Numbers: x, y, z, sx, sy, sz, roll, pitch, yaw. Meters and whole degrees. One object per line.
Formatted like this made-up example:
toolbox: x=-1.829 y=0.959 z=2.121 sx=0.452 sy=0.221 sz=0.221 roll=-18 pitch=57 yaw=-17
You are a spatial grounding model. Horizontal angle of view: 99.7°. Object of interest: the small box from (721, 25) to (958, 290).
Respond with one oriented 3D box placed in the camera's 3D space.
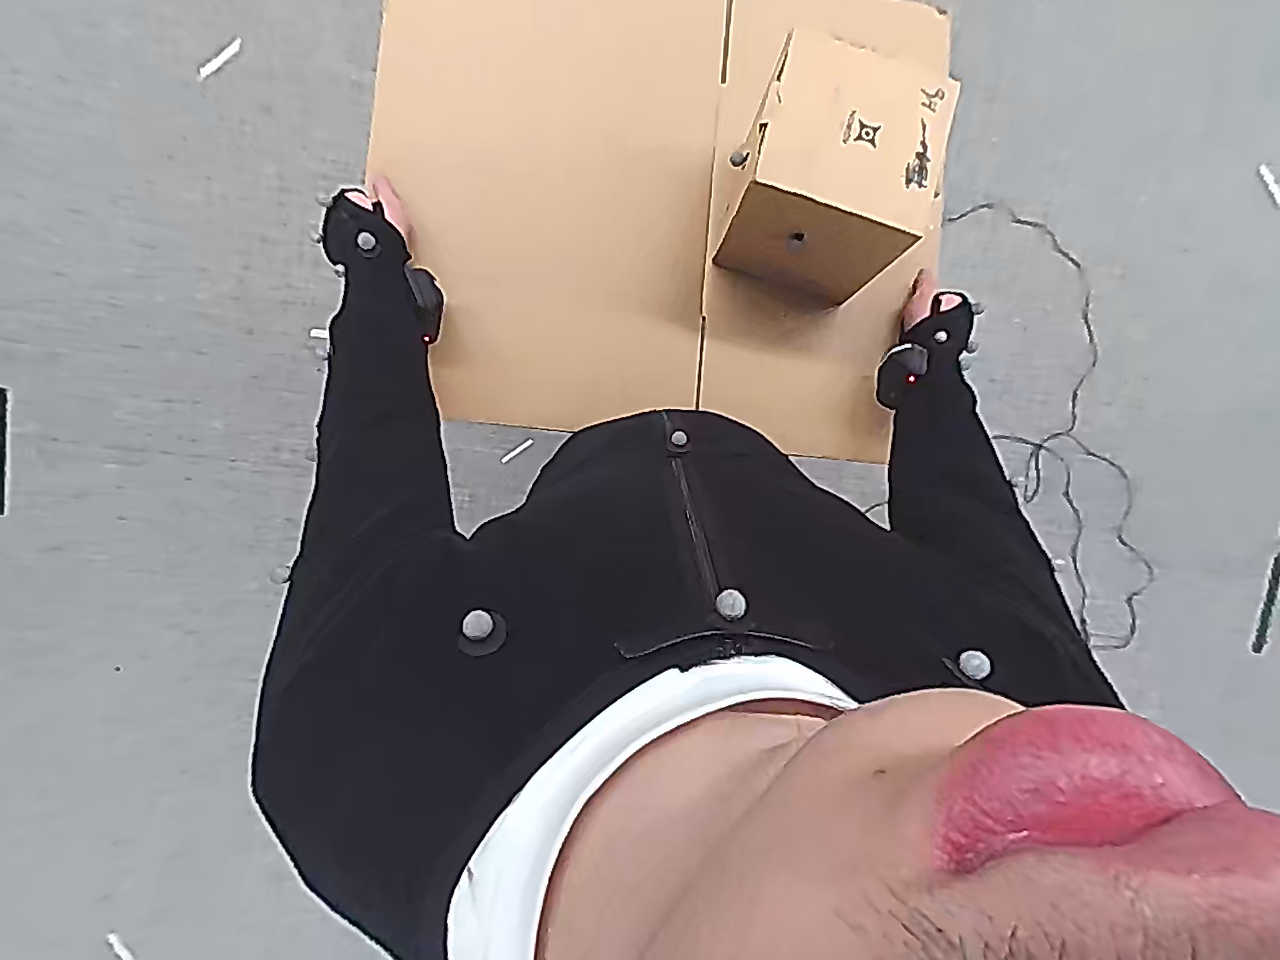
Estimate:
small box: x=0.203 y=-0.336 z=0.600 sx=0.179 sy=0.176 sz=0.168 roll=16 pitch=86 yaw=-3
